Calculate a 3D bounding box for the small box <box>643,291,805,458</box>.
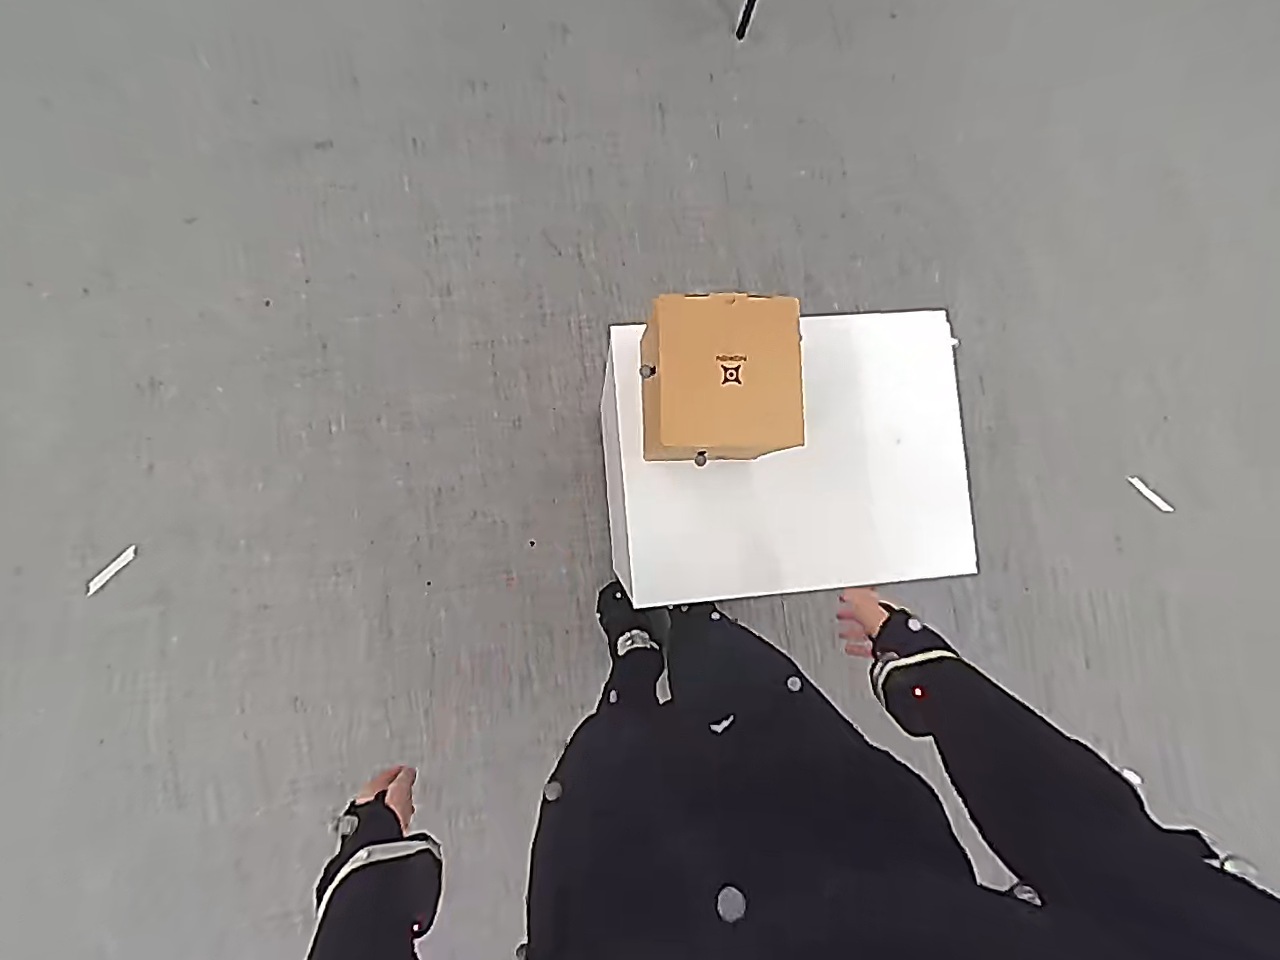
[{"bbox_3d":[0.095,-0.120,0.682,0.168,0.176,0.179,-1,86,-6],"label":"small box"}]
